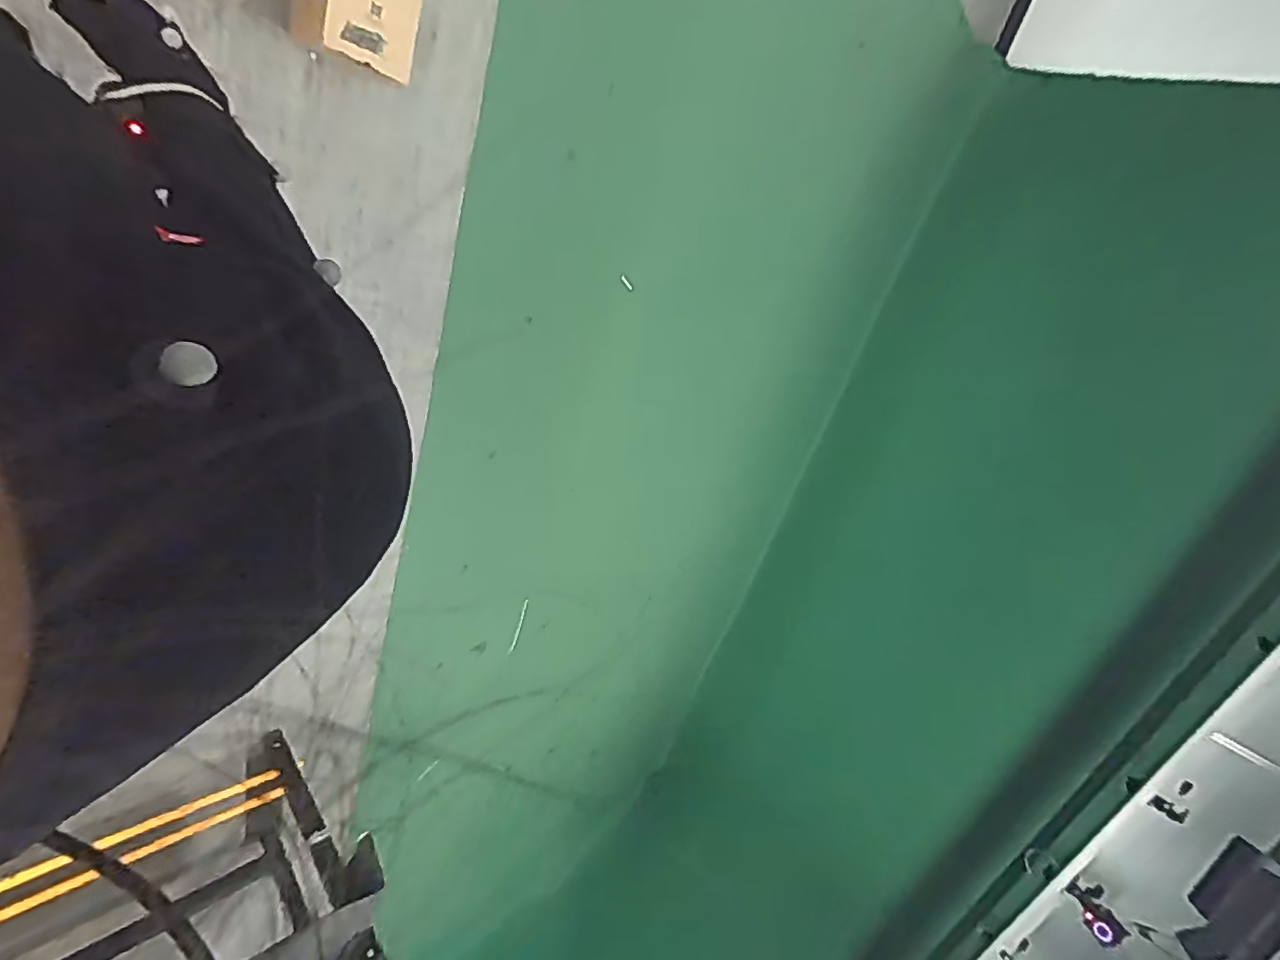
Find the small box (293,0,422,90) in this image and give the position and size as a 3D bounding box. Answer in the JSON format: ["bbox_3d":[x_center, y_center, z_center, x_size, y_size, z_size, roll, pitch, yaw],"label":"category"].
[{"bbox_3d":[-0.561,-0.911,1.066,0.168,0.176,0.179,-5,121,-50],"label":"small box"}]
